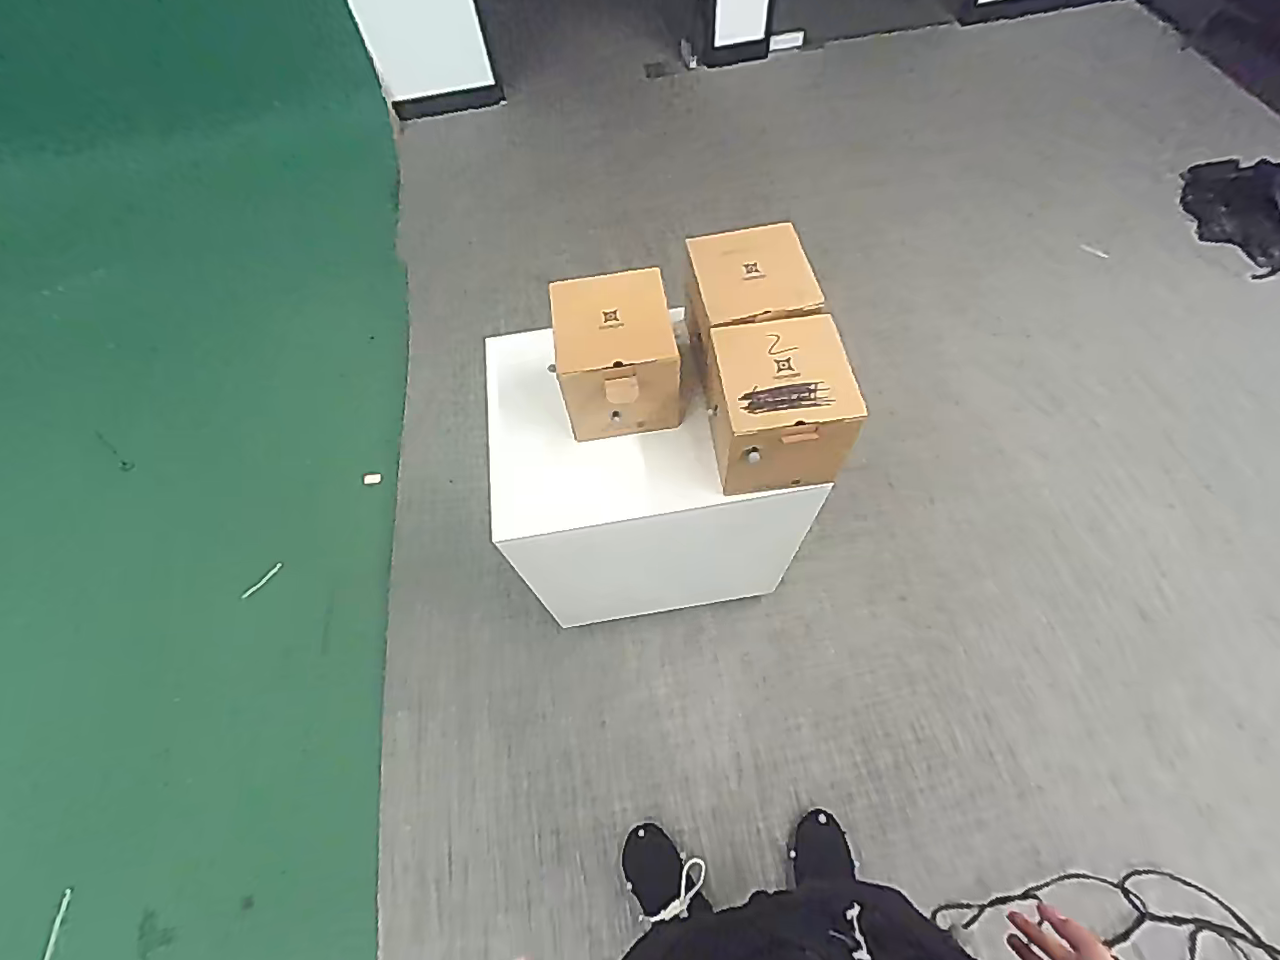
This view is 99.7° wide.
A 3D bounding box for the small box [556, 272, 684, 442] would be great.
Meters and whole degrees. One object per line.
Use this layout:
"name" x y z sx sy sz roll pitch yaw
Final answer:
"small box" -0.029 -0.182 0.823 0.168 0.176 0.179 -9 62 -1
